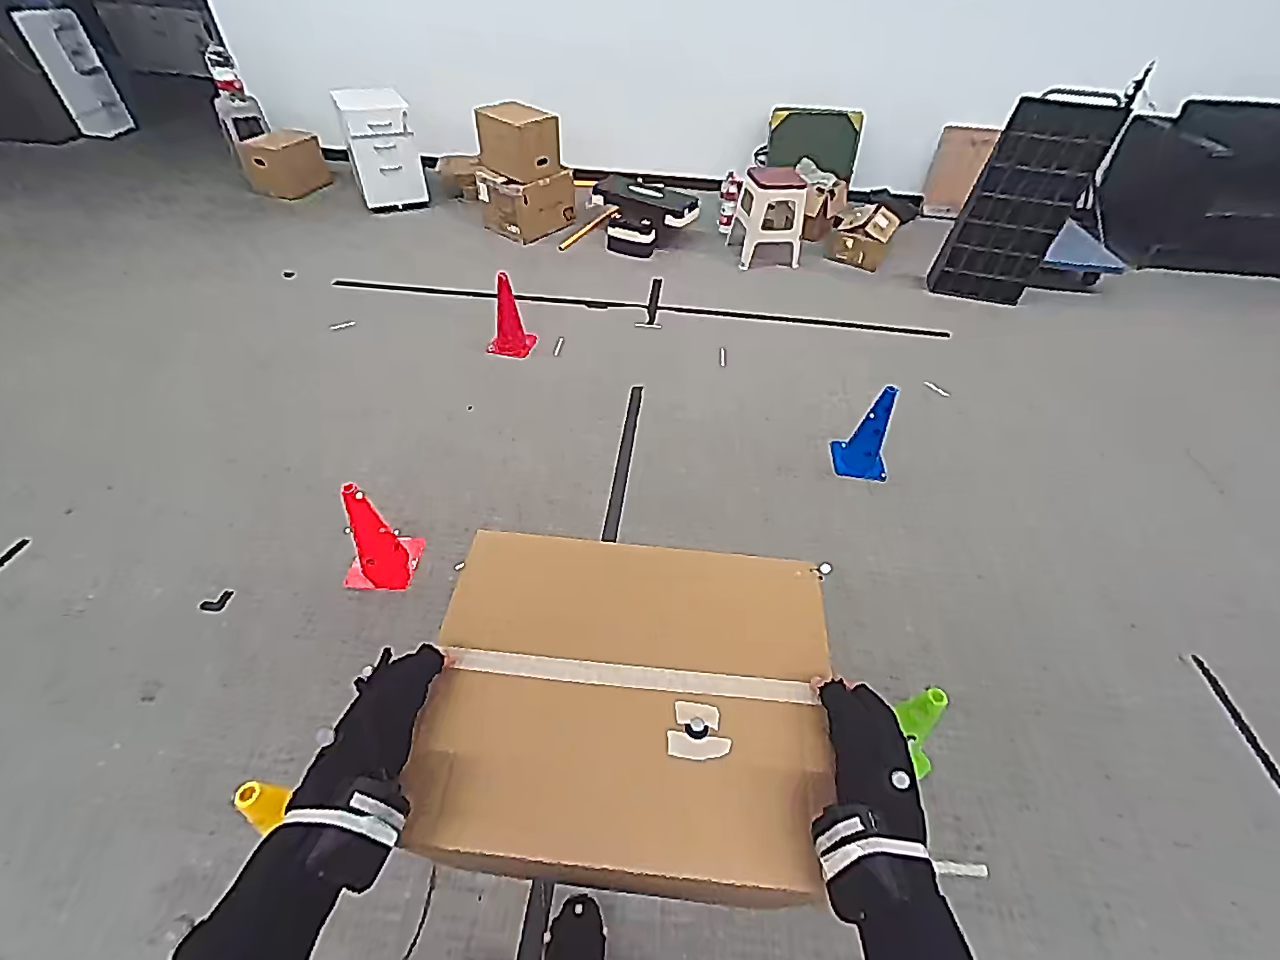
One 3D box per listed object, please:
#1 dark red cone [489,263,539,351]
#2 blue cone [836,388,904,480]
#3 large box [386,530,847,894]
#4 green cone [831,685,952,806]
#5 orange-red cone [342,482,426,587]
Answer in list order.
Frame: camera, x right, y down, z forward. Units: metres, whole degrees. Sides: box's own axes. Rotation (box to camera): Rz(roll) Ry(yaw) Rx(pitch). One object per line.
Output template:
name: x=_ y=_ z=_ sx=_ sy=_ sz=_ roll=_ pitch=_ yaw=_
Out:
dark red cone: x=-0.596 y=-0.800 z=2.487 sx=0.201 sy=0.394 sz=0.202 roll=11 pitch=47 yaw=5
blue cone: x=0.899 y=-0.191 z=2.056 sx=0.192 sy=0.380 sz=0.193 roll=9 pitch=47 yaw=4
large box: x=-0.017 y=0.288 z=0.664 sx=0.408 sy=0.320 sz=0.320 roll=6 pitch=51 yaw=2
green cone: x=0.631 y=0.583 z=1.275 sx=0.202 sy=0.368 sz=0.200 roll=-21 pitch=52 yaw=-24
orange-red cone: x=-0.803 y=0.139 z=1.611 sx=0.198 sy=0.360 sz=0.199 roll=4 pitch=48 yaw=1
